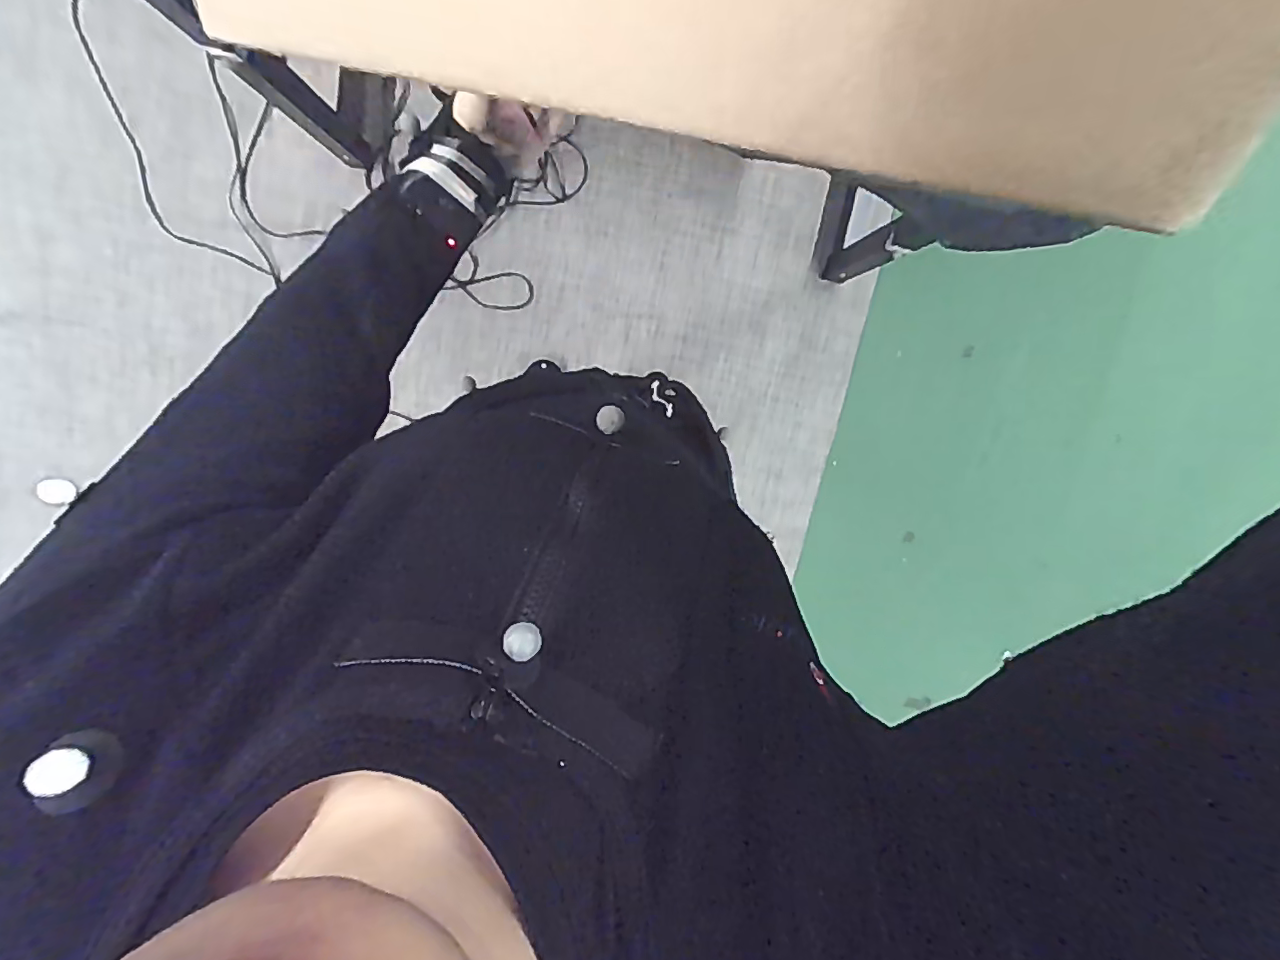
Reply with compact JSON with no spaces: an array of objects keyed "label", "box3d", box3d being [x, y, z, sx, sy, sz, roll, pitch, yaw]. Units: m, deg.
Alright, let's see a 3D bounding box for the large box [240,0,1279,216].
[{"label":"large box","box3d":[0.062,-0.345,0.237,0.408,0.320,0.320,15,131,9]}]
